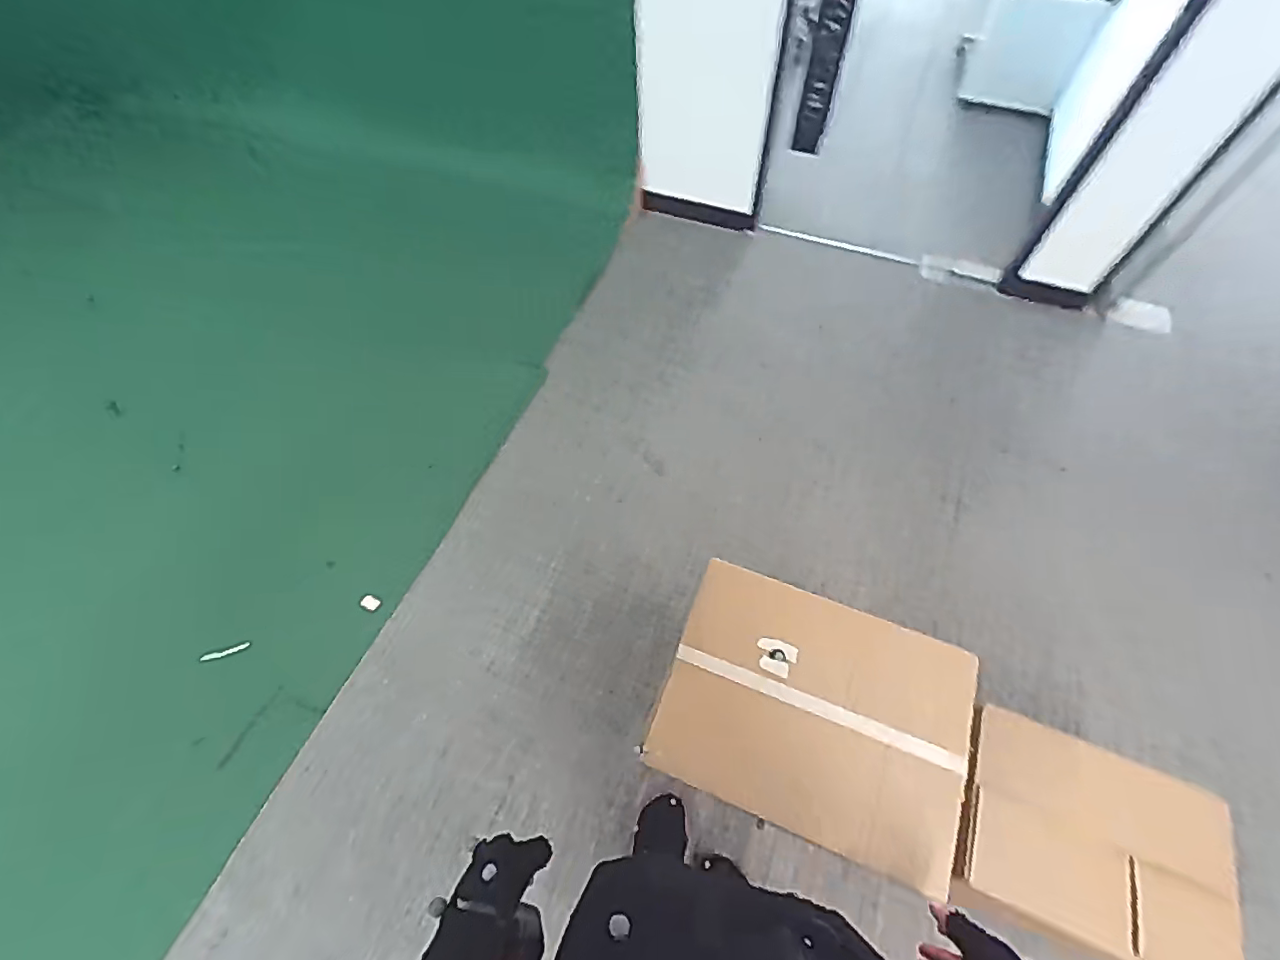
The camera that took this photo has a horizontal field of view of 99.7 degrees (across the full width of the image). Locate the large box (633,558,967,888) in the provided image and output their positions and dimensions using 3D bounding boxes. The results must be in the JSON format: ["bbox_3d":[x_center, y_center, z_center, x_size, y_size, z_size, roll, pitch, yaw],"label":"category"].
[{"bbox_3d":[0.240,0.374,0.886,0.408,0.320,0.320,19,66,13],"label":"large box"}]
